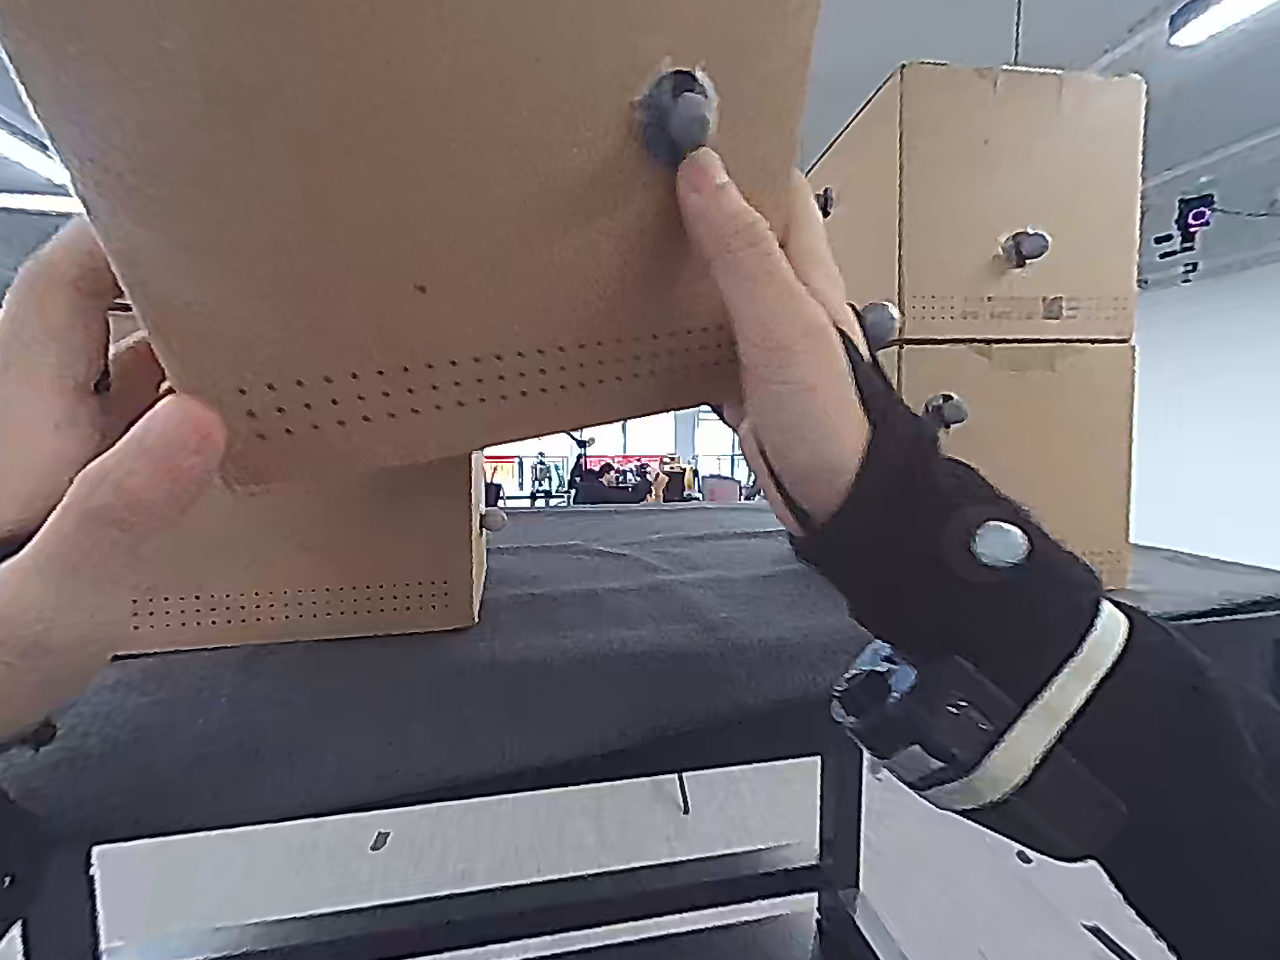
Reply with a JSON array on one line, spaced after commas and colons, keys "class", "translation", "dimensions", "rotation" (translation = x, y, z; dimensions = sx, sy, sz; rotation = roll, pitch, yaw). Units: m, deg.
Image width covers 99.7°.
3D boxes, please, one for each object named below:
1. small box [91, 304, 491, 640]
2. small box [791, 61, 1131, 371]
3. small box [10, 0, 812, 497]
[{"class": "small box", "translation": [-0.193, -0.003, 0.353], "dimensions": [0.179, 0.176, 0.168], "rotation": [-1, 3, -14]}, {"class": "small box", "translation": [0.227, -0.180, 0.427], "dimensions": [0.168, 0.176, 0.179], "rotation": [-2, 4, -6]}, {"class": "small box", "translation": [-0.063, -0.118, 0.195], "dimensions": [0.179, 0.176, 0.168], "rotation": [-16, 37, -22]}]
